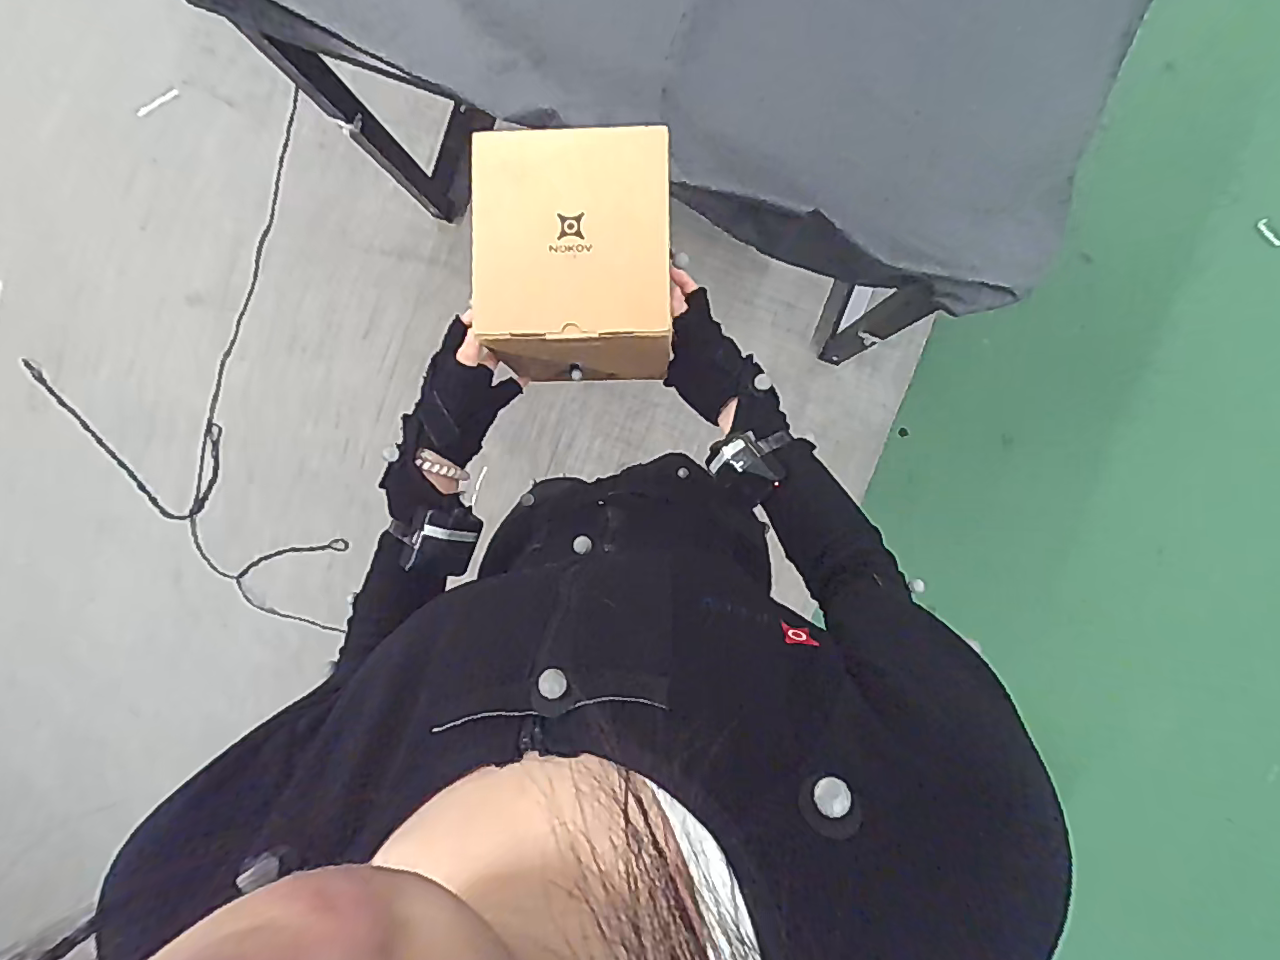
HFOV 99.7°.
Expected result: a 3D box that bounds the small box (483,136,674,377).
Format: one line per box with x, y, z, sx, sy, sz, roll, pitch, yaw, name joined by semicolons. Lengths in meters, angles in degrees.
-0.052;-0.207;0.543;0.168;0.176;0.179;-1;90;2;small box
